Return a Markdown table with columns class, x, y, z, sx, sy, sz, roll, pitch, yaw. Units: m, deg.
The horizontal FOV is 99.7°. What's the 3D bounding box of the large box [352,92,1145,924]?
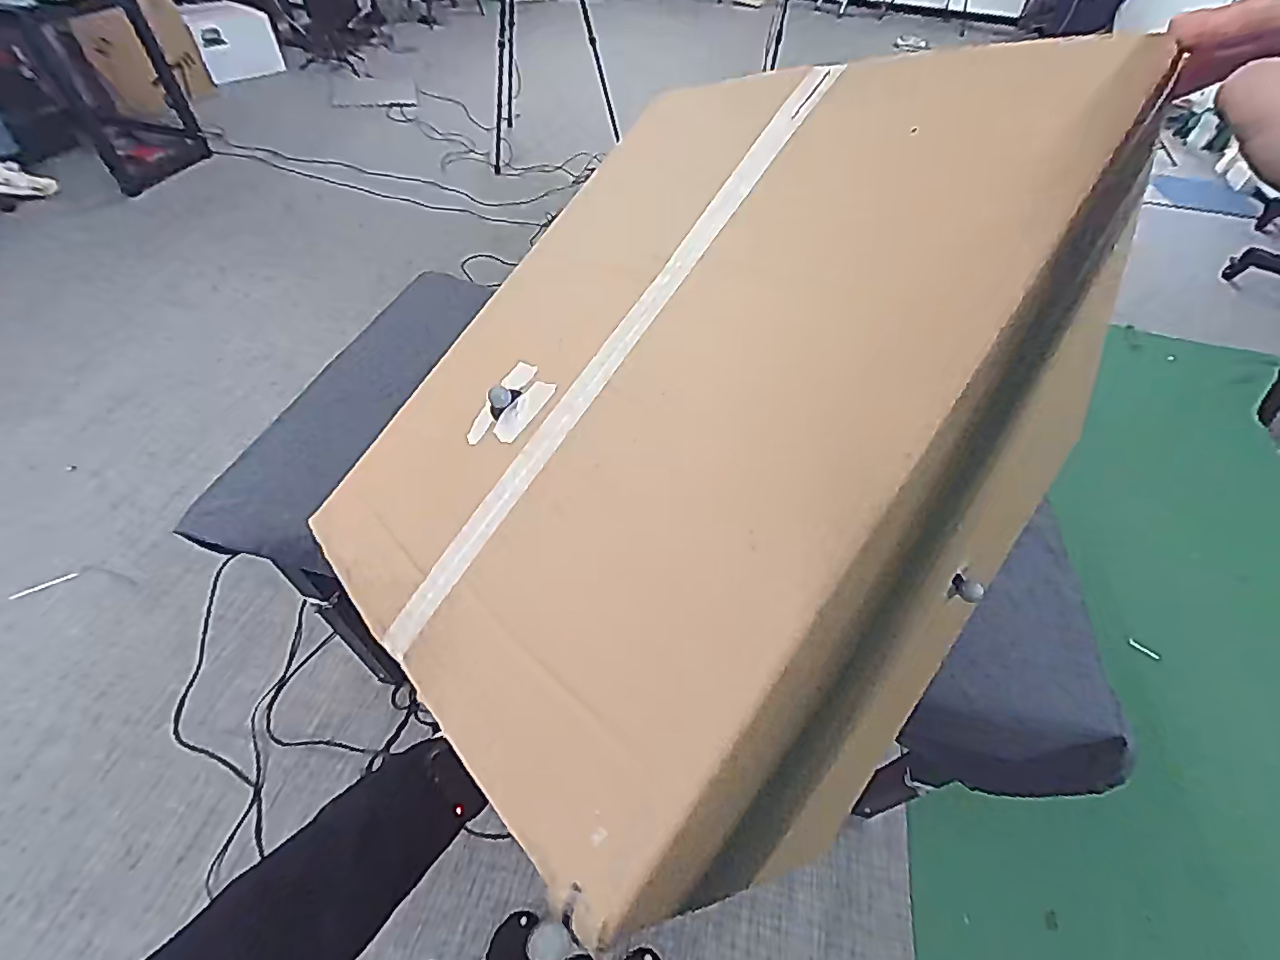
| class | x | y | z | sx | sy | sz | roll | pitch | yaw |
| --- | --- | --- | --- | --- | --- | --- | --- | --- | --- |
| large box | 0.082 | -0.001 | 0.420 | 0.320 | 0.320 | 0.408 | 28 | 81 | 39 |
